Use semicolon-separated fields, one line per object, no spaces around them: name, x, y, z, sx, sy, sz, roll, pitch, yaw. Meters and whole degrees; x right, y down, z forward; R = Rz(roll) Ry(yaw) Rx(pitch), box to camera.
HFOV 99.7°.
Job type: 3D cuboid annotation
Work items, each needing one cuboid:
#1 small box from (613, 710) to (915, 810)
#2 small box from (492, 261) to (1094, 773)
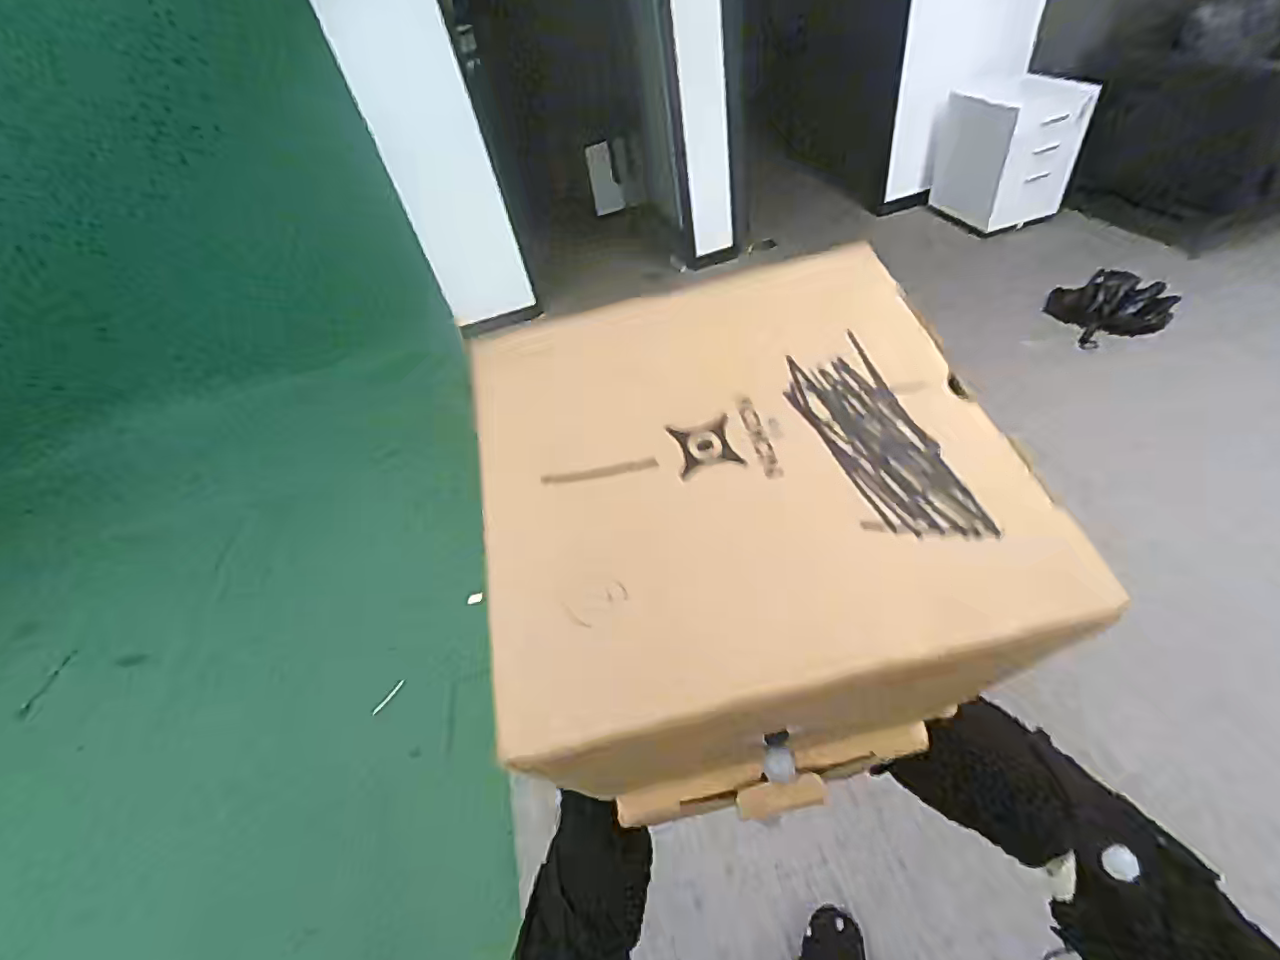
small box;0.062;0.126;0.396;0.168;0.176;0.179;-12;57;0
small box;0.042;0.031;0.262;0.179;0.176;0.168;-13;56;1
